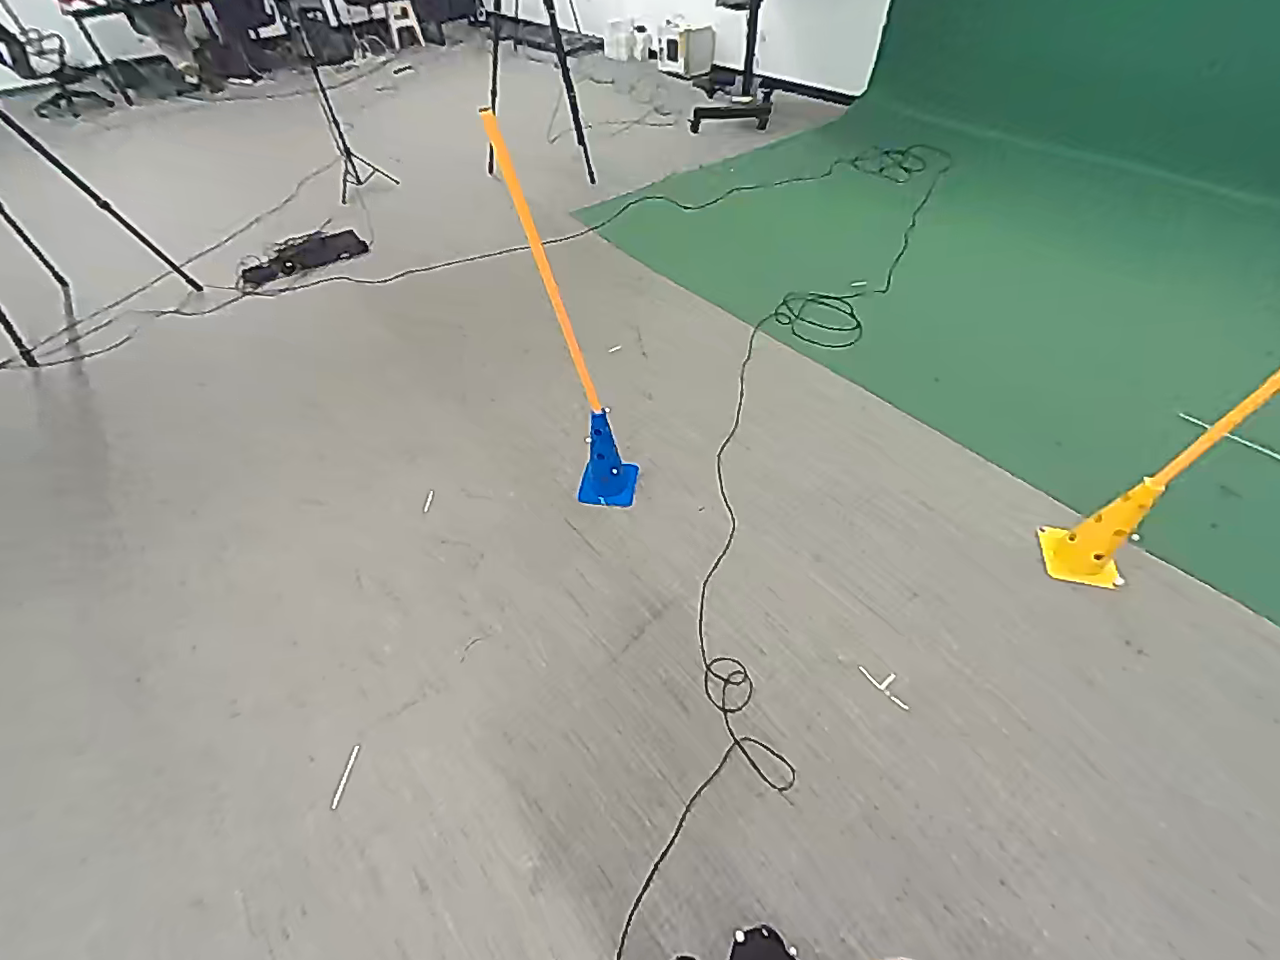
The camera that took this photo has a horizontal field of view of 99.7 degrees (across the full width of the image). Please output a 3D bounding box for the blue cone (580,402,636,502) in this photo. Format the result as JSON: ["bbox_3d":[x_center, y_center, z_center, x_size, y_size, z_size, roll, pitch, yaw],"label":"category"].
[{"bbox_3d":[-0.126,-0.103,1.809,0.193,0.380,0.192,3,50,7],"label":"blue cone"}]
